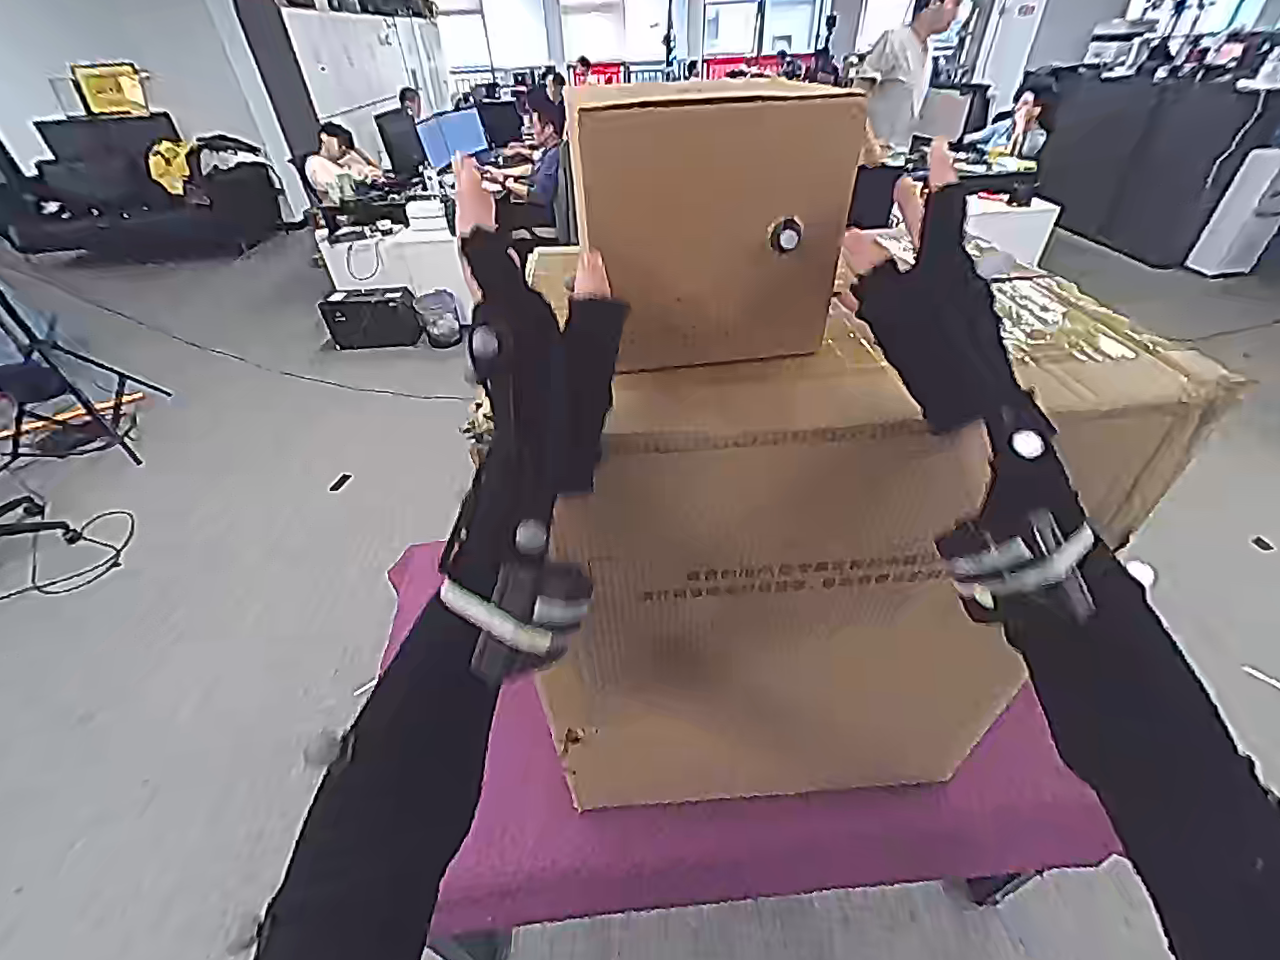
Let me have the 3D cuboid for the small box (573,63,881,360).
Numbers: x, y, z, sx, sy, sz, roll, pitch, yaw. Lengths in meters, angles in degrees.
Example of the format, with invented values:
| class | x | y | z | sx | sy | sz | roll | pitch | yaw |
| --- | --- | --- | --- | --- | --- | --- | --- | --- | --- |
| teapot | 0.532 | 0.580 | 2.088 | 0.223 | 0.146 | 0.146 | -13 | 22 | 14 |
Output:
| class | x | y | z | sx | sy | sz | roll | pitch | yaw |
| --- | --- | --- | --- | --- | --- | --- | --- | --- | --- |
| small box | 0.047 | -0.208 | 0.416 | 0.179 | 0.176 | 0.168 | -8 | 39 | -5 |
